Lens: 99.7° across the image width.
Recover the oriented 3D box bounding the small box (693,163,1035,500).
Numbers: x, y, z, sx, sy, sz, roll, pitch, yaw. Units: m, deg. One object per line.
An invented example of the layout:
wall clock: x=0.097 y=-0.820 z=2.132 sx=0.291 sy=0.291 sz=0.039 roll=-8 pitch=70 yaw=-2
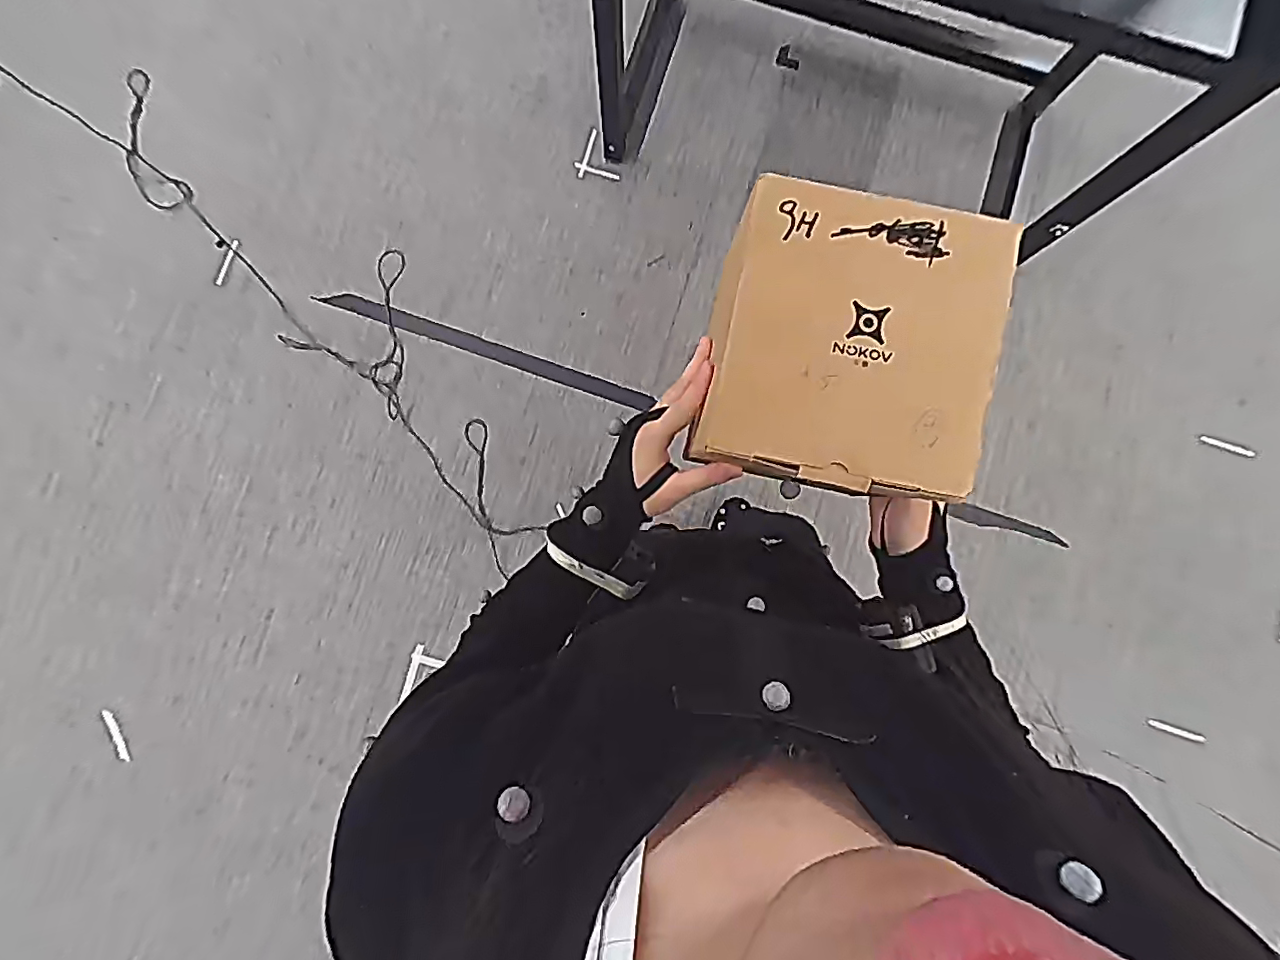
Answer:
small box: x=0.138 y=-0.090 z=0.402 sx=0.168 sy=0.176 sz=0.179 roll=11 pitch=91 yaw=-1
